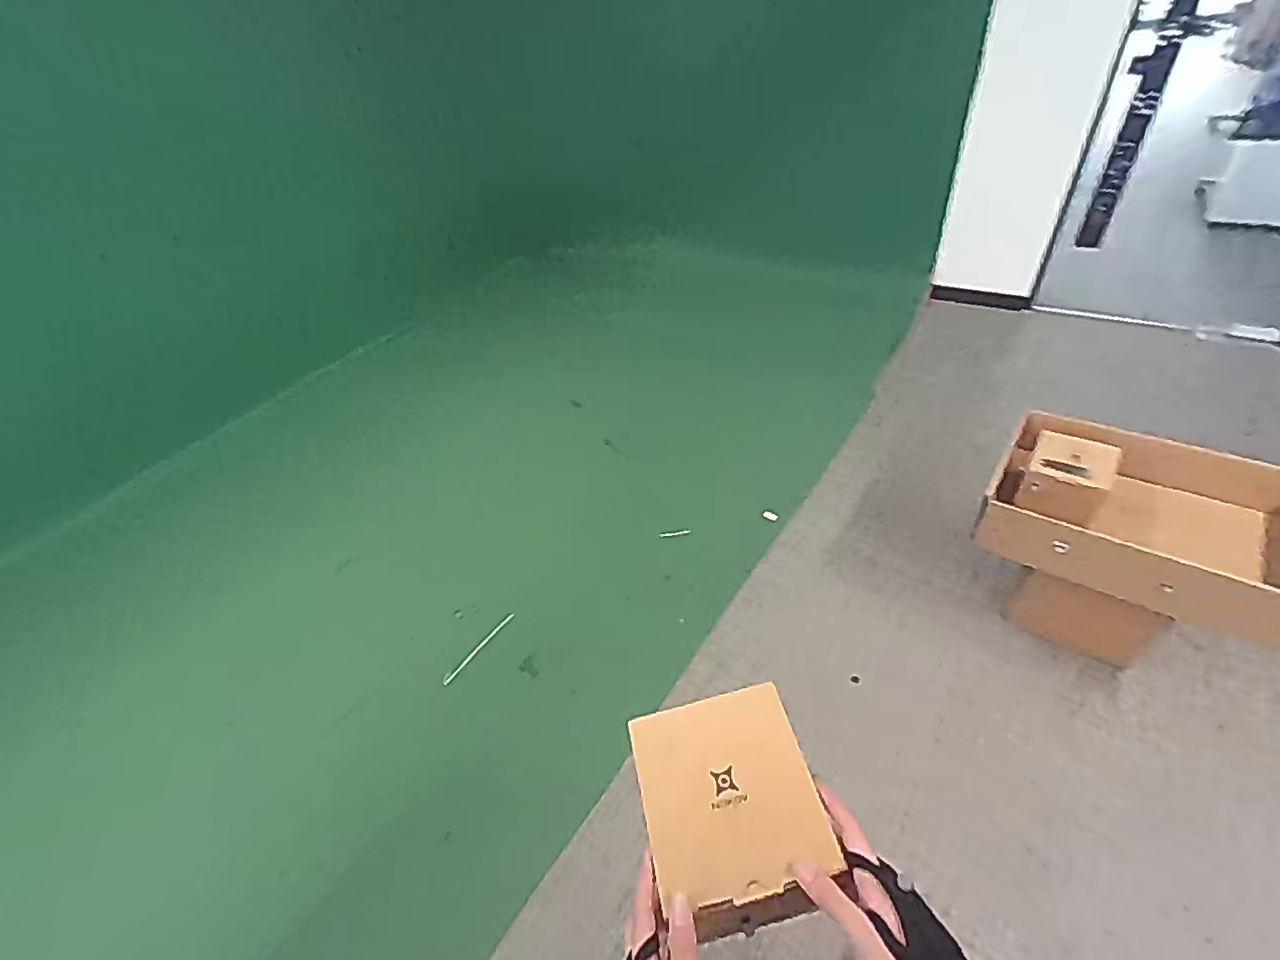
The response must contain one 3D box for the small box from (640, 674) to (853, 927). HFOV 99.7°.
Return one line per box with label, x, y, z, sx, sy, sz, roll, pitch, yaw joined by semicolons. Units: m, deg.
small box;0.101;0.342;0.580;0.168;0.176;0.179;-13;44;-2
